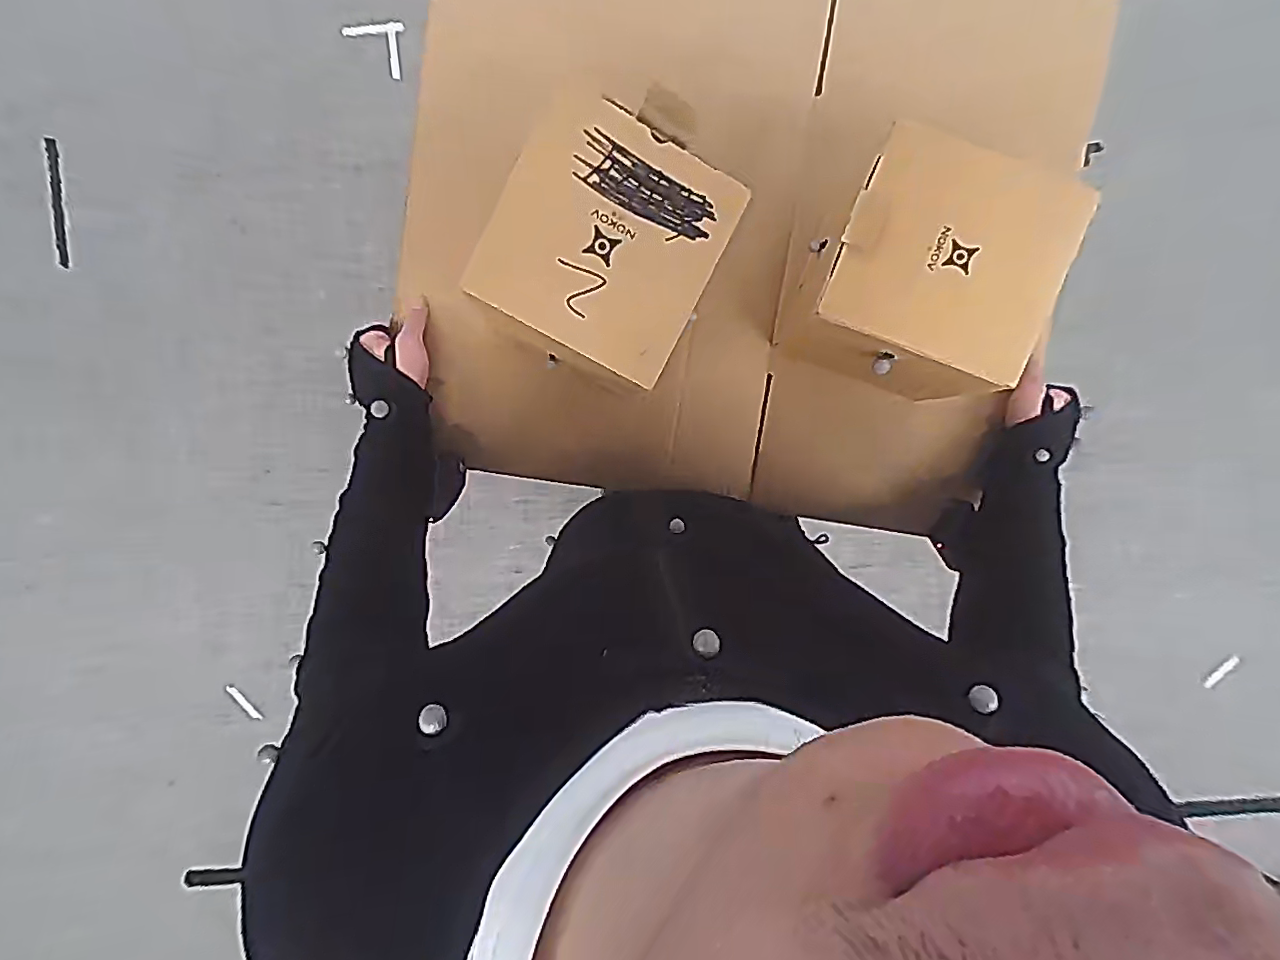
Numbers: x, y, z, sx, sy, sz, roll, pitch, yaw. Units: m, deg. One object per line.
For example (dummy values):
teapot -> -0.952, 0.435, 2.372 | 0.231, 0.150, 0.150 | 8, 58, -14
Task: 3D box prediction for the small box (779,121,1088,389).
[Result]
small box -> 0.258, -0.195, 0.525 | 0.179, 0.176, 0.168 | 21, 96, 2
